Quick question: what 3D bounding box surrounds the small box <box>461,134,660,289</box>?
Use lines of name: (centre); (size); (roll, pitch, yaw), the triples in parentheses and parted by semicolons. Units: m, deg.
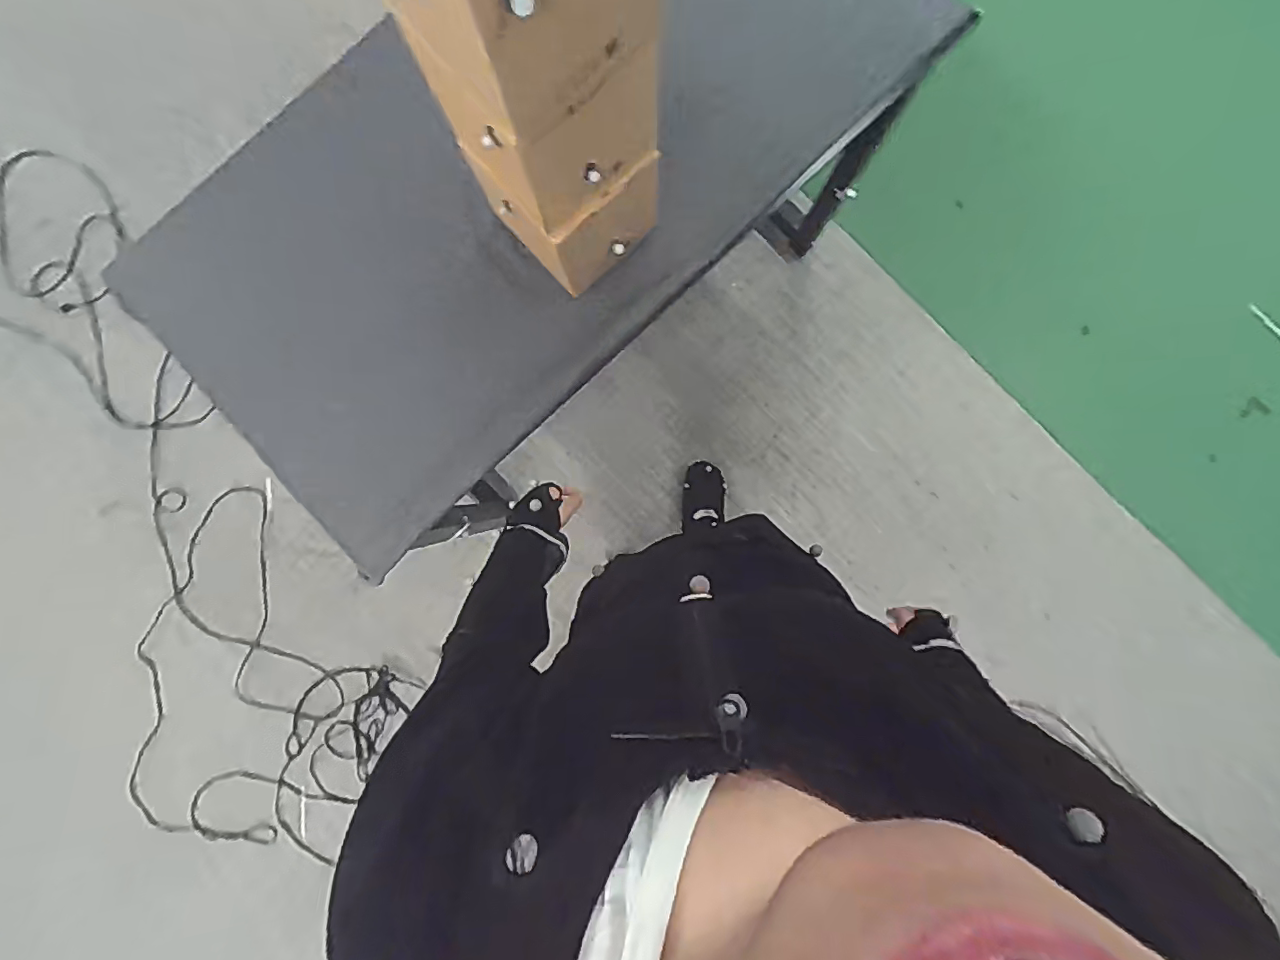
small box: (-0.091, -0.385, 0.703); (0.168, 0.176, 0.179); (-42, 88, 0)

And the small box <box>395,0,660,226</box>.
small box: (-0.099, -0.401, 0.541); (0.168, 0.176, 0.179); (-41, 88, -1)
